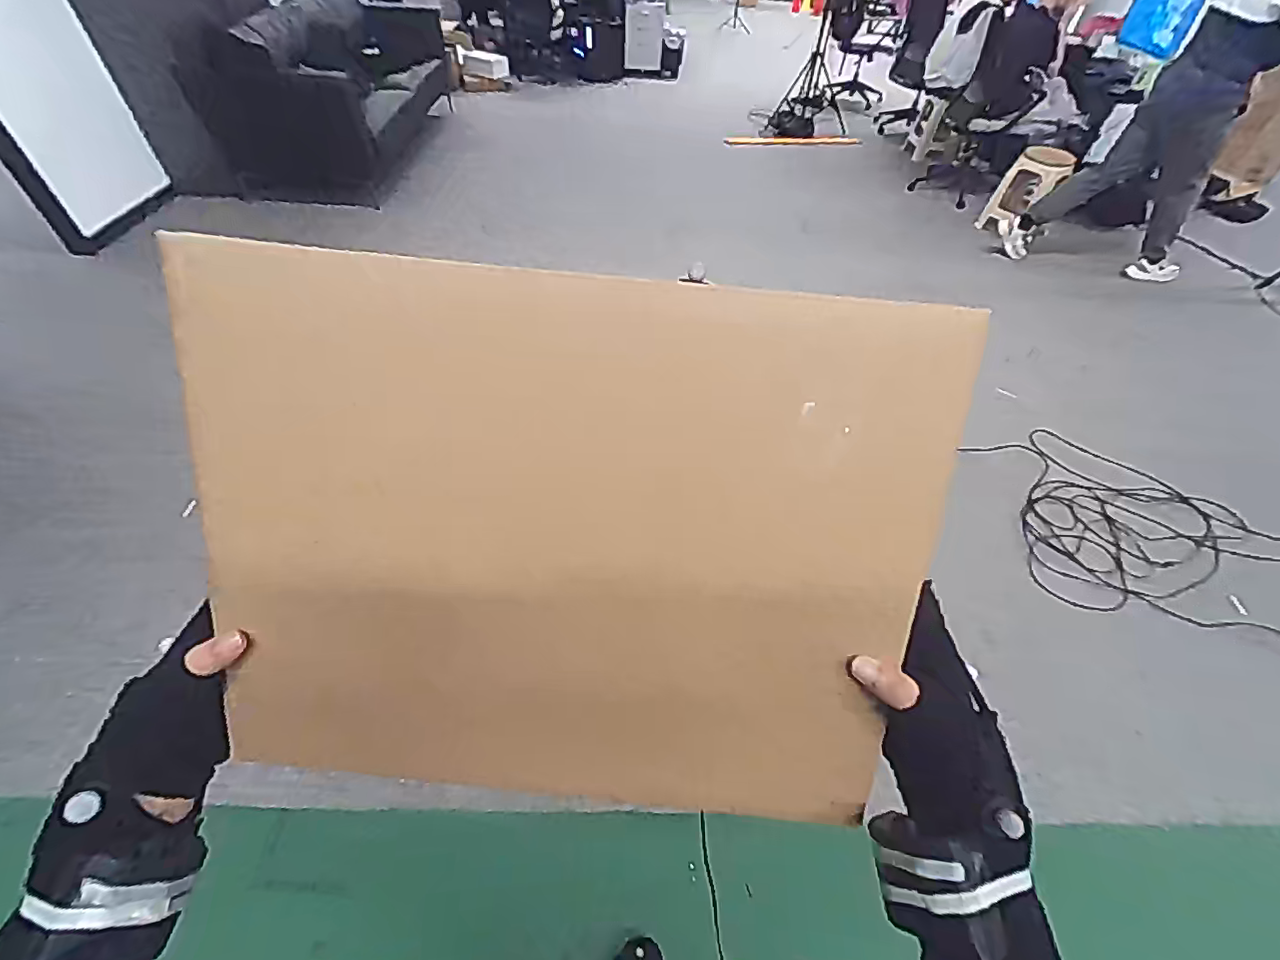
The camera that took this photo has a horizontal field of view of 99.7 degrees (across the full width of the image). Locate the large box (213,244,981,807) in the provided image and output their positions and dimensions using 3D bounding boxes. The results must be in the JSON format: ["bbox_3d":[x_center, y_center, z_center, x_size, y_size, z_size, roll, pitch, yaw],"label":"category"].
[{"bbox_3d":[-0.035,0.012,0.453,0.408,0.320,0.320,7,16,1],"label":"large box"}]
